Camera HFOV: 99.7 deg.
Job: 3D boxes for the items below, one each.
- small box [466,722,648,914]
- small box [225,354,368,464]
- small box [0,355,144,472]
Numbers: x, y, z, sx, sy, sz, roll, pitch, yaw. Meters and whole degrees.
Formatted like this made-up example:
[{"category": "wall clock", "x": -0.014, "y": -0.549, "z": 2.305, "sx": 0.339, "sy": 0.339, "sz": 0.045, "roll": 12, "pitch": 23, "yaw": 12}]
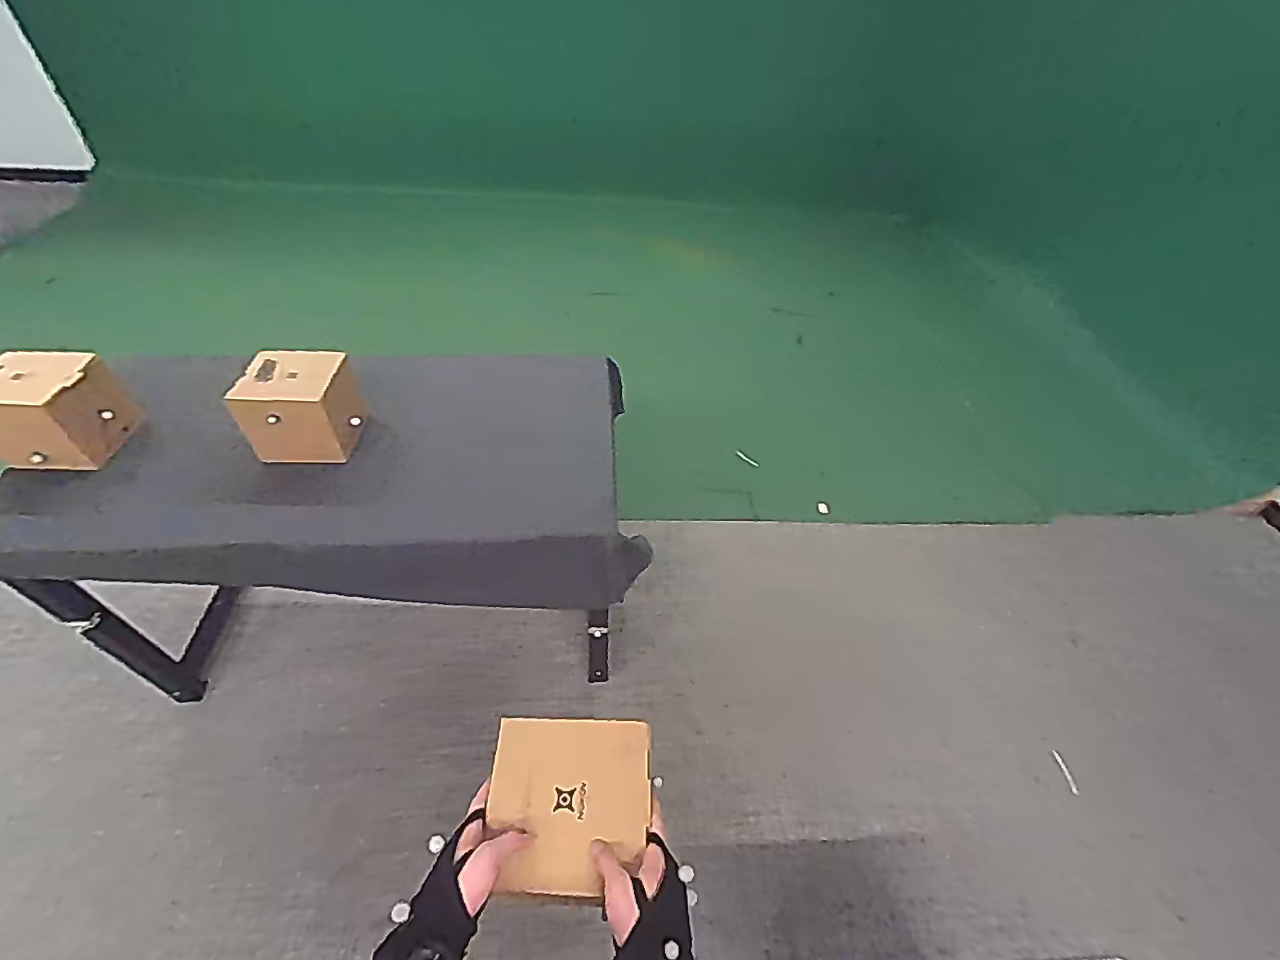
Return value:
[{"category": "small box", "x": -0.079, "y": 0.394, "z": 0.630, "sx": 0.179, "sy": 0.176, "sz": 0.168, "roll": -1, "pitch": 48, "yaw": 2}, {"category": "small box", "x": -0.703, "y": -0.146, "z": 1.133, "sx": 0.179, "sy": 0.176, "sz": 0.168, "roll": 1, "pitch": 47, "yaw": -5}, {"category": "small box", "x": -1.168, "y": -0.129, "z": 1.082, "sx": 0.179, "sy": 0.176, "sz": 0.168, "roll": 1, "pitch": 46, "yaw": -4}]
